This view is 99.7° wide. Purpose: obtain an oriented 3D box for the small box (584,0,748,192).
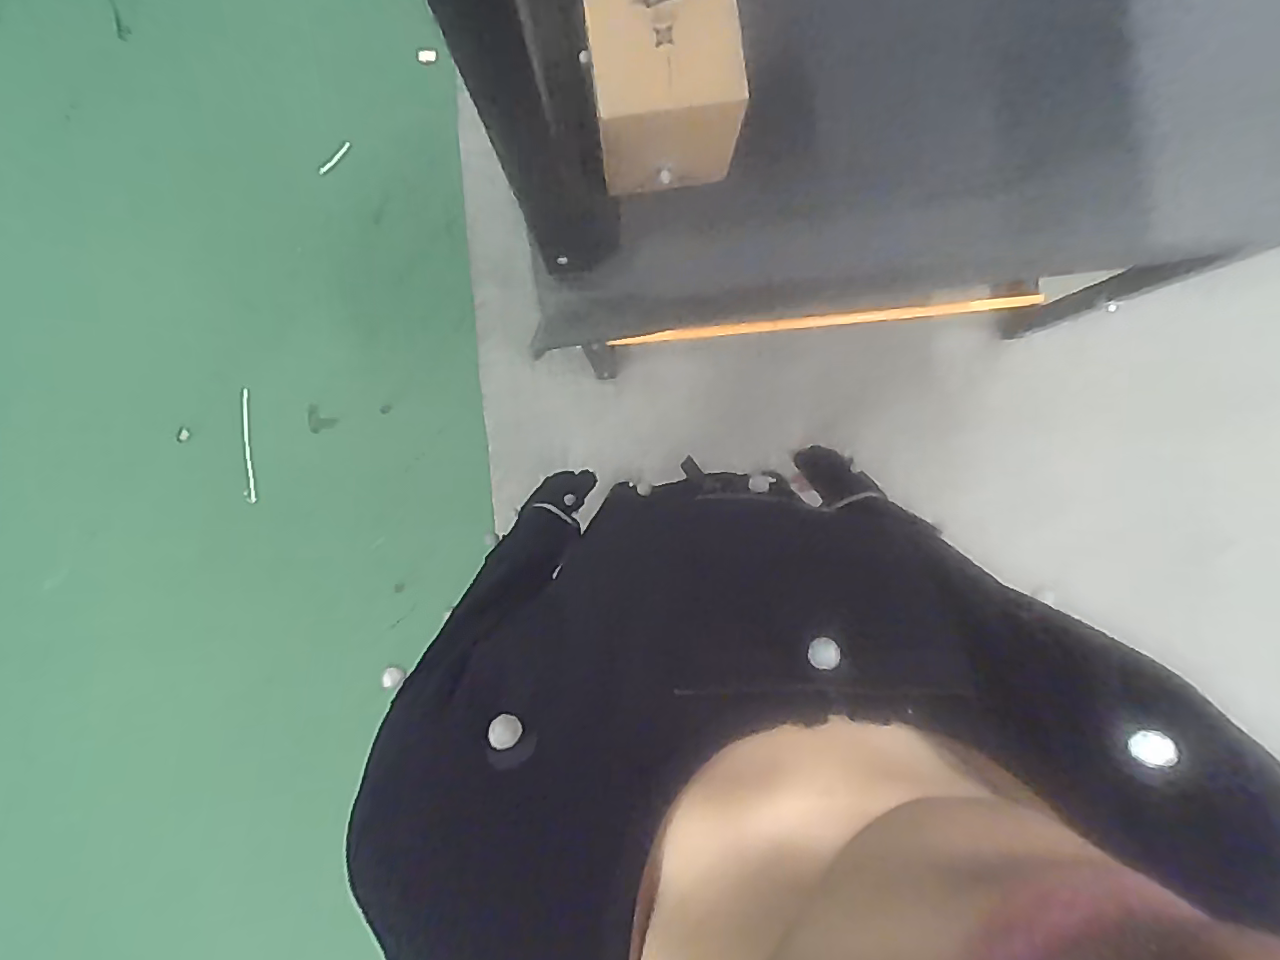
[{"bbox_3d":[0.025,-0.489,0.662,0.168,0.176,0.179,-8,91,0],"label":"small box"}]
